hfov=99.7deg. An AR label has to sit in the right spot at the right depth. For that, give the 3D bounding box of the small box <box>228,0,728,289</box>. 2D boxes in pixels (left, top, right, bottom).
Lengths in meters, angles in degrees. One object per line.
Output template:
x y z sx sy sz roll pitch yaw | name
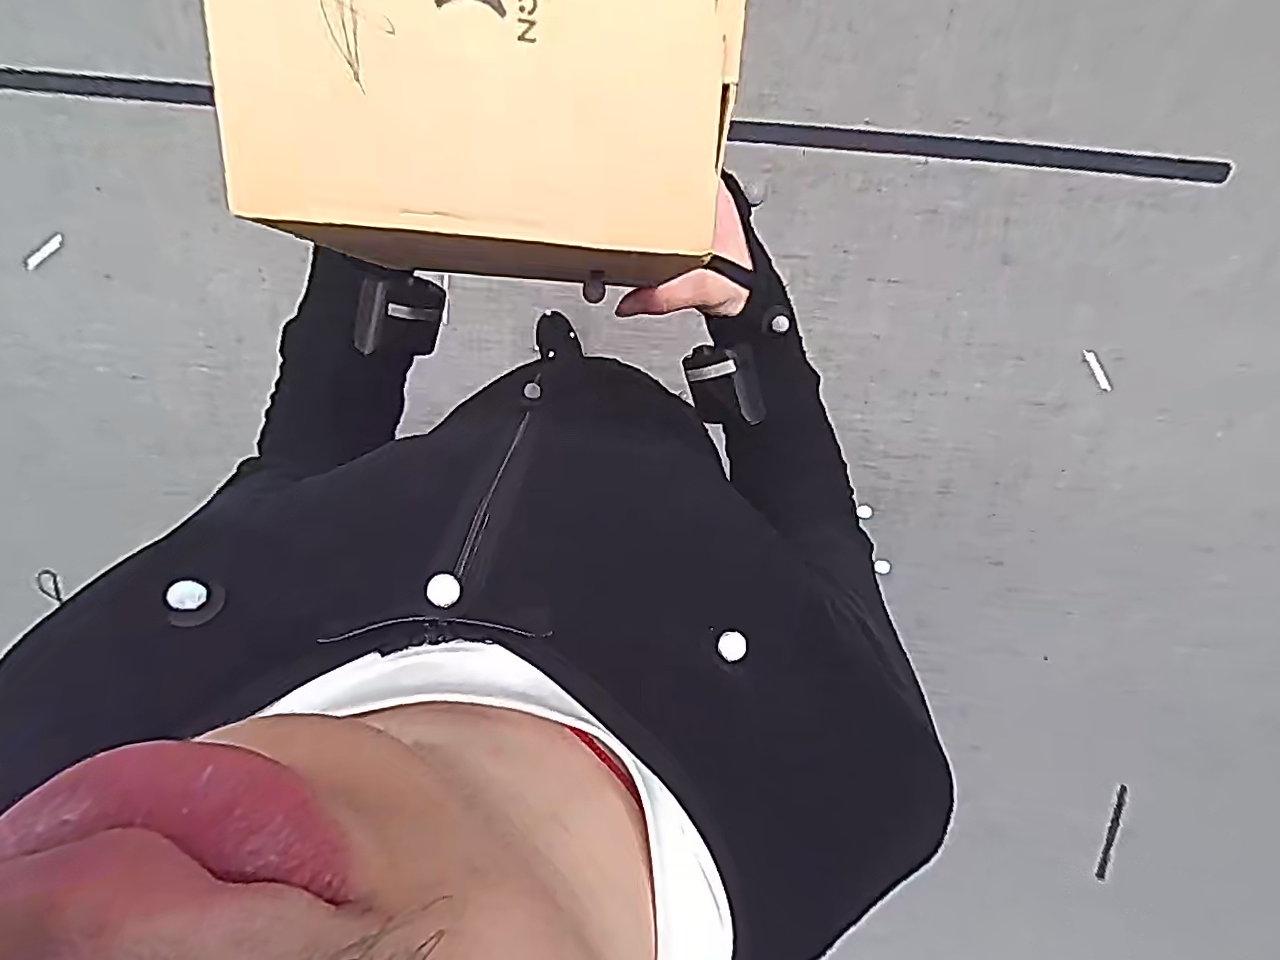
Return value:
-0.063 -0.192 0.269 0.179 0.176 0.168 2 104 -7 | small box
